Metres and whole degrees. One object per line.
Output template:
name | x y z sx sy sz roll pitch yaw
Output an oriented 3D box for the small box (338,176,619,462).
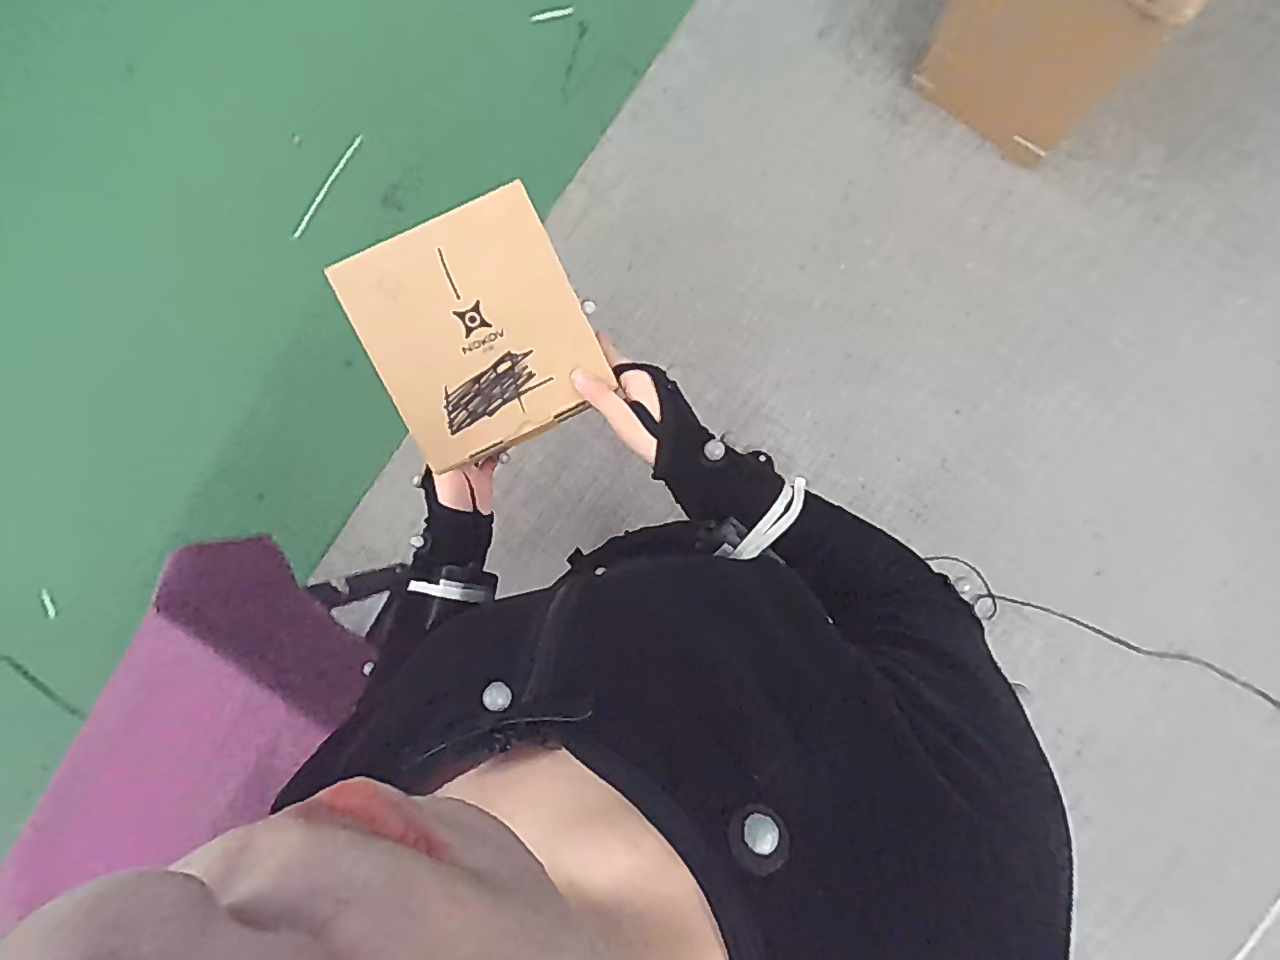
small box | -0.128 -0.132 0.501 0.168 0.176 0.179 -25 97 -2
